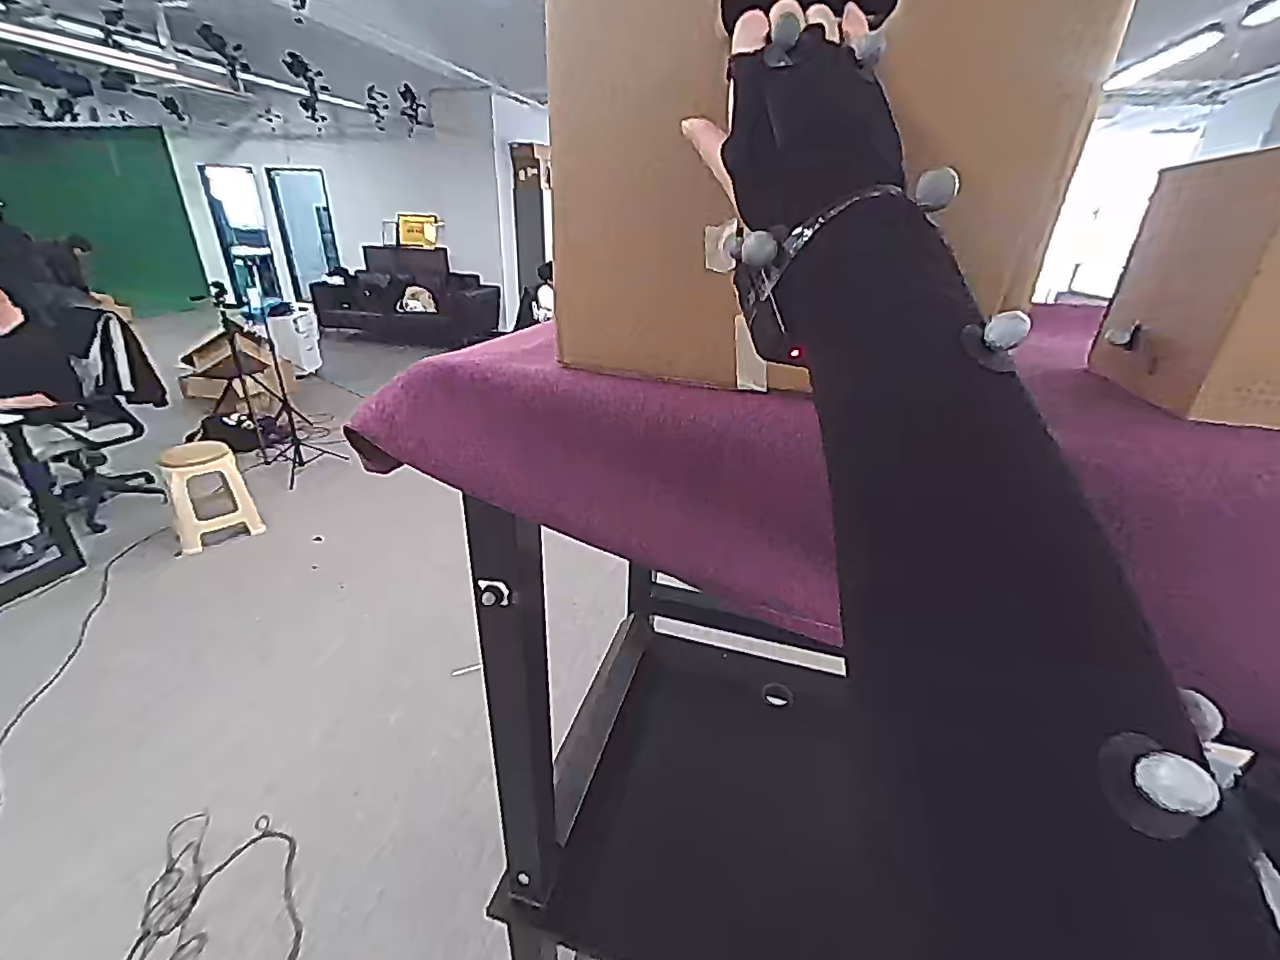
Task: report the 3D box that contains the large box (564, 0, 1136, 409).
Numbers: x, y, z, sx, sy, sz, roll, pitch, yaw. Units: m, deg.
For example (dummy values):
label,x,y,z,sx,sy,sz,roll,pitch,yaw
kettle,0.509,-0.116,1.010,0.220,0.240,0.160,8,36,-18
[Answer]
label,x,y,z,sx,sy,sz,roll,pitch,yaw
large box,0.147,-0.275,0.489,0.320,0.320,0.408,10,26,14

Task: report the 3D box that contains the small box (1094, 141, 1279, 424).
label,x,y,z,sx,sy,sz,roll,pitch,yaw
small box,0.478,-0.134,0.378,0.179,0.176,0.168,9,25,15
